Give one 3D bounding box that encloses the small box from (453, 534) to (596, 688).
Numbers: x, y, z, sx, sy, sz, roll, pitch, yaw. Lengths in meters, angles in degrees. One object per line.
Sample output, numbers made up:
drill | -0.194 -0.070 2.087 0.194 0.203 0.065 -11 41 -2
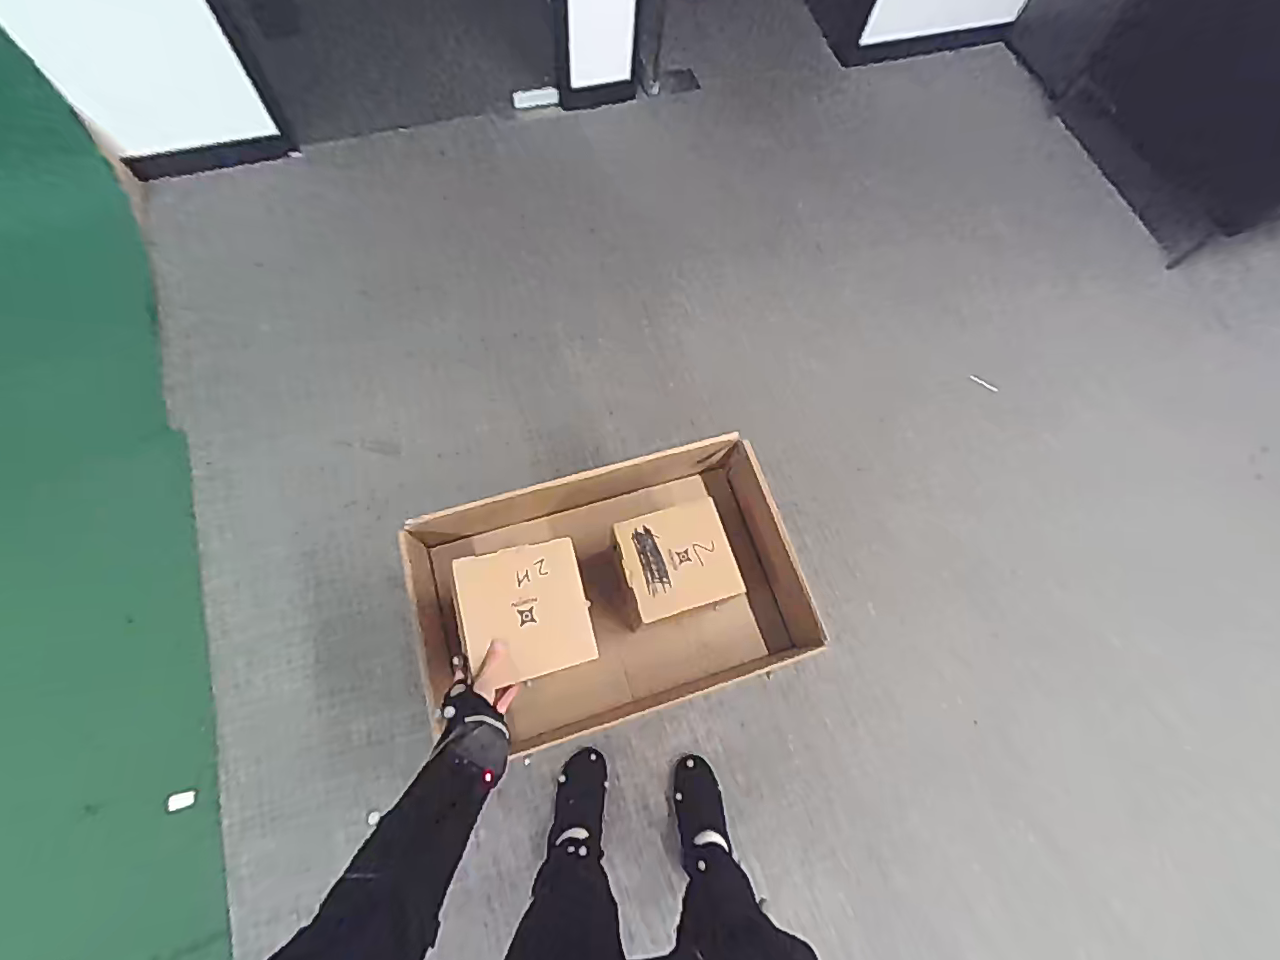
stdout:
small box | -0.177 0.192 0.793 0.168 0.176 0.179 -8 75 -23
